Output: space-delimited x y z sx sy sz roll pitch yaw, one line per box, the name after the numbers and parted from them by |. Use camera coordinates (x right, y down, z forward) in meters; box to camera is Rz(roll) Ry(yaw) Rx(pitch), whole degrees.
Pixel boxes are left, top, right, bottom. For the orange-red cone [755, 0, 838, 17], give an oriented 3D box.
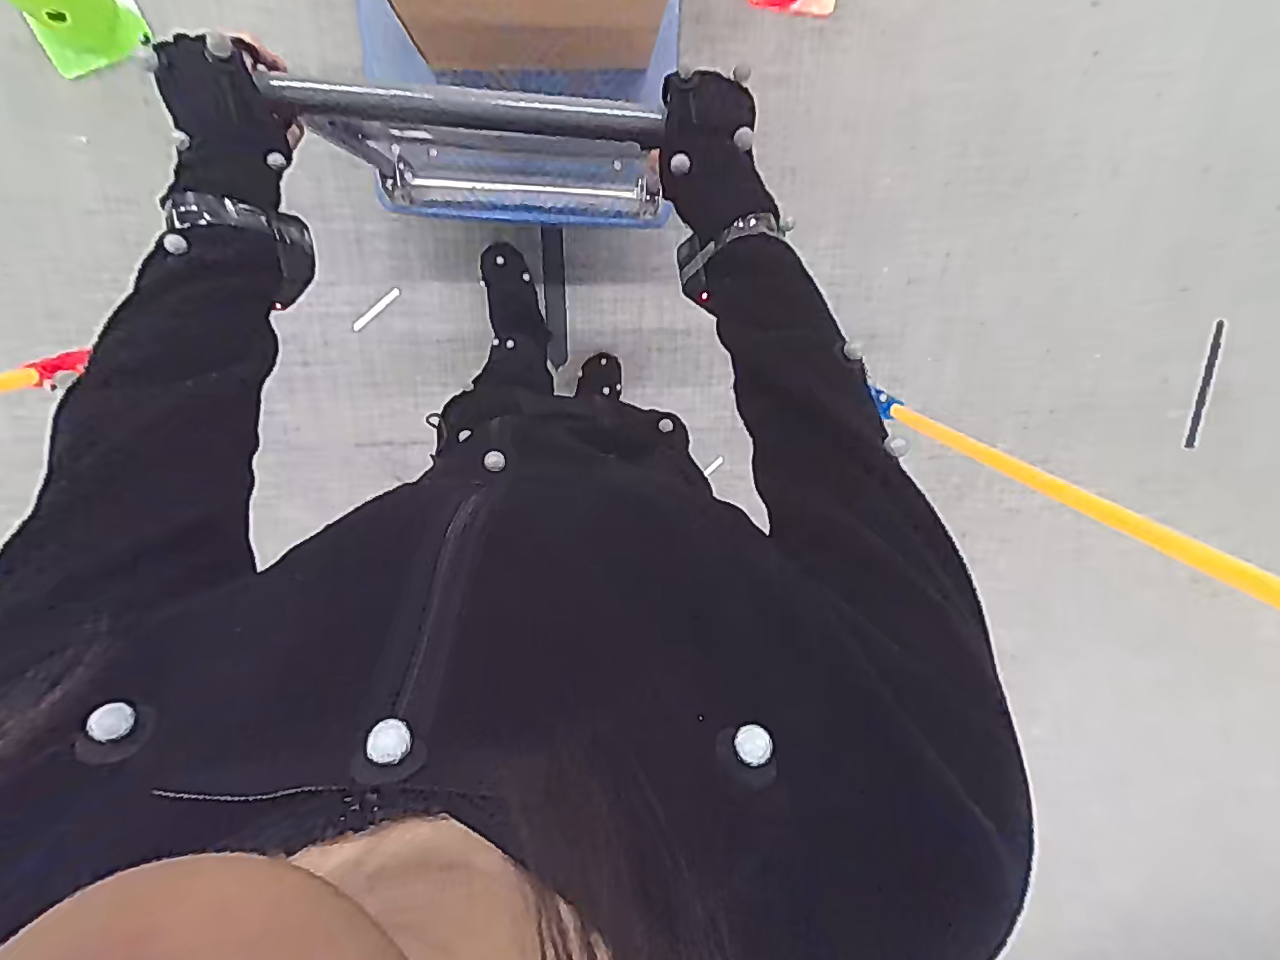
0.359 -1.053 0.973 0.199 0.360 0.198 3 107 -9 | orange-red cone
